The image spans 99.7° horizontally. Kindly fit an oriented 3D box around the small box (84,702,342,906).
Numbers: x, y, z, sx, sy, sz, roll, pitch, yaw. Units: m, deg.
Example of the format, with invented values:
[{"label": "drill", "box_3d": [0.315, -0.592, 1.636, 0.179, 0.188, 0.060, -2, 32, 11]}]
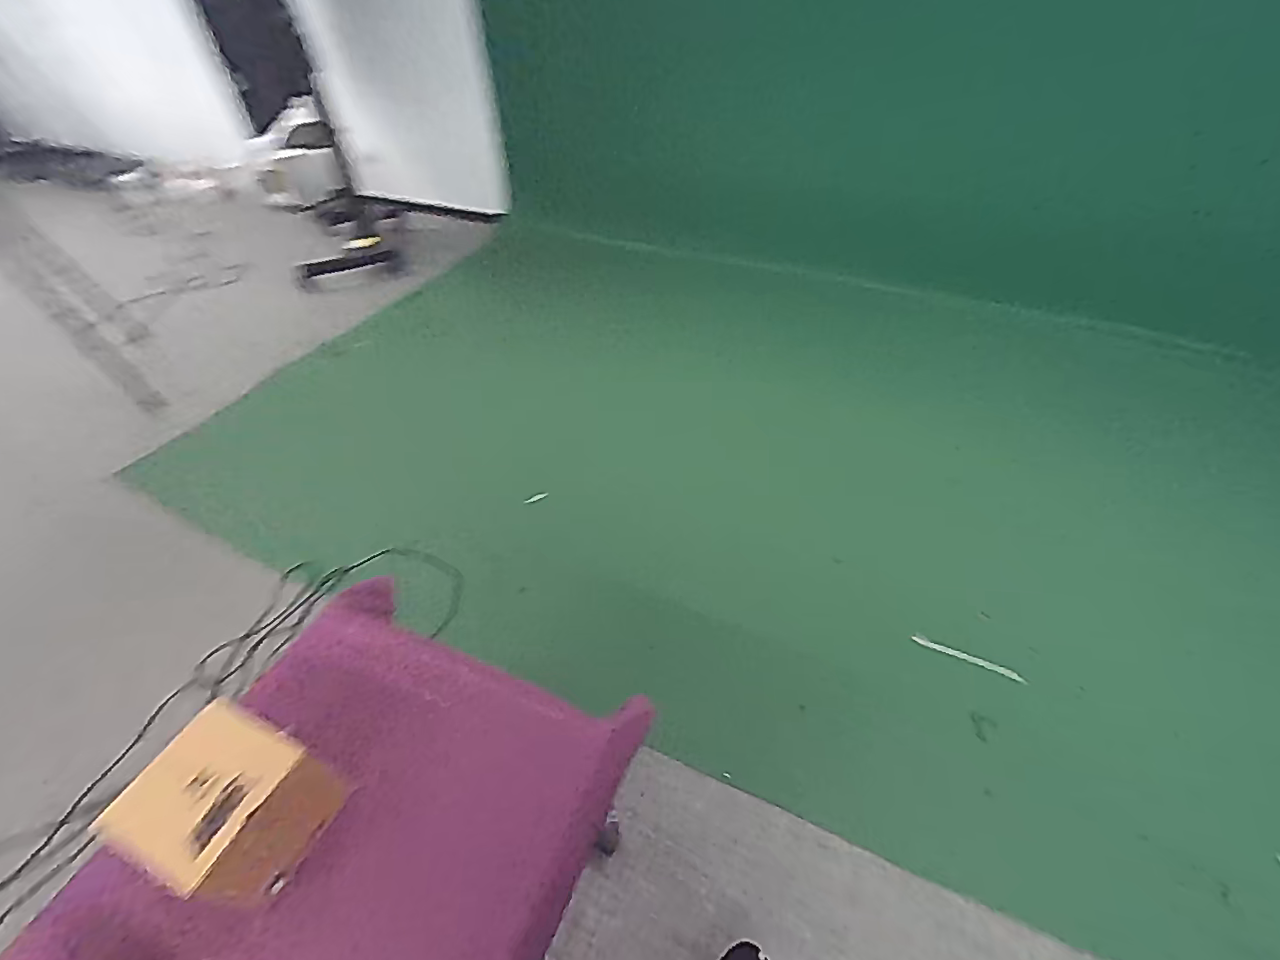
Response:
[{"label": "small box", "box_3d": [-0.545, 0.434, 0.722, 0.179, 0.176, 0.168, 15, 49, 18]}]
